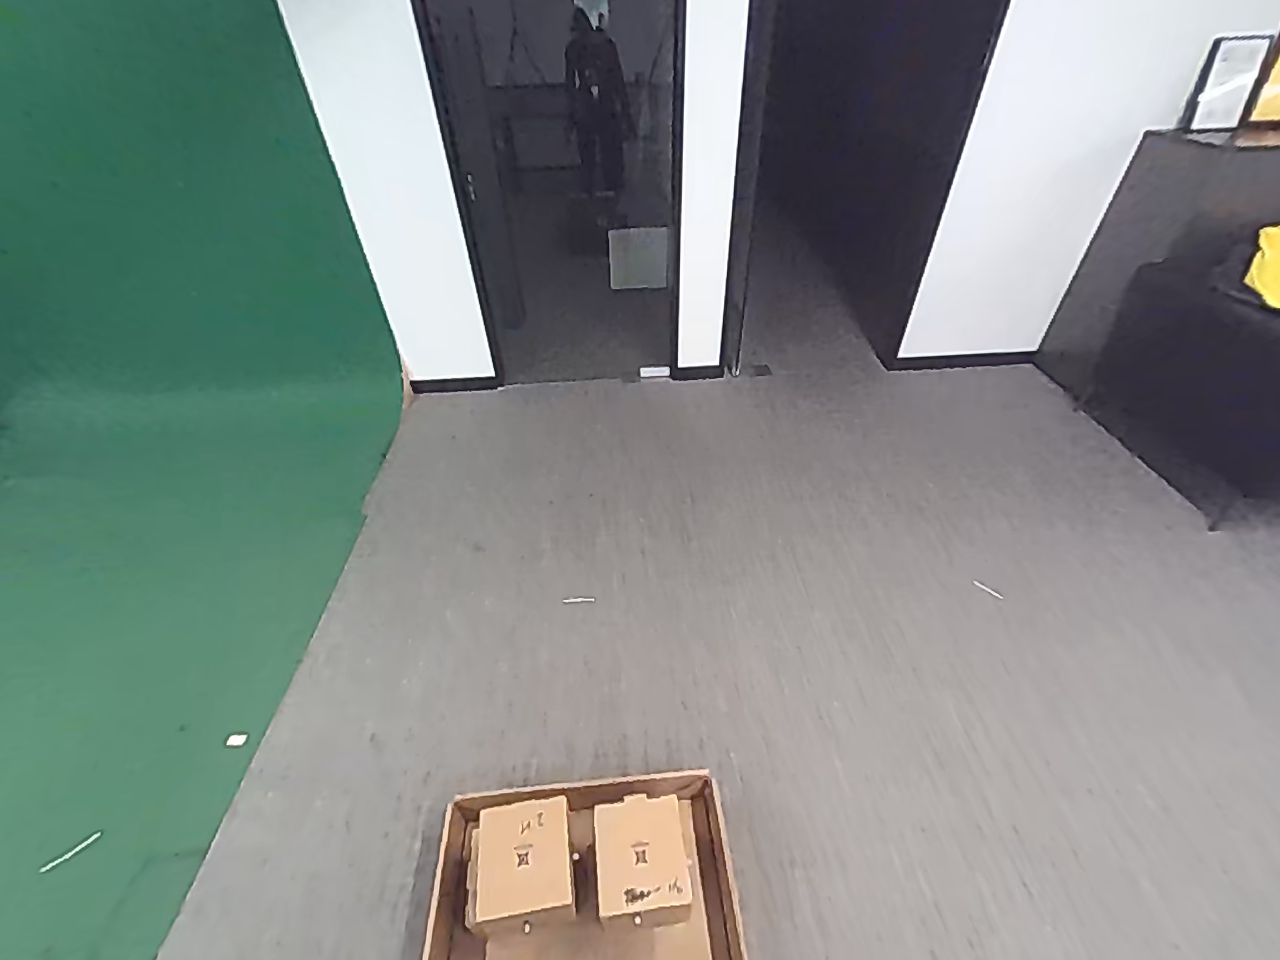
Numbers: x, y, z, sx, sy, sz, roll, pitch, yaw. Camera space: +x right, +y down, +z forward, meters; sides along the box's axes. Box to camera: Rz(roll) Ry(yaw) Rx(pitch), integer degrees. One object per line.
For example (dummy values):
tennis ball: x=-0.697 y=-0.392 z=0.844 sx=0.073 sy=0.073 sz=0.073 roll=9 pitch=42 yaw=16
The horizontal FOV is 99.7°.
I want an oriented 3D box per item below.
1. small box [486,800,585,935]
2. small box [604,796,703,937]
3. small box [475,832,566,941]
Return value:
small box: x=-0.197 y=0.754 z=1.047 sx=0.168 sy=0.176 sz=0.179 roll=-5 pitch=43 yaw=-8
small box: x=0.023 y=0.744 z=1.043 sx=0.168 sy=0.176 sz=0.179 roll=-7 pitch=41 yaw=-3
small box: x=-0.243 y=0.867 z=1.166 sx=0.179 sy=0.176 sz=0.168 roll=-5 pitch=43 yaw=-6
